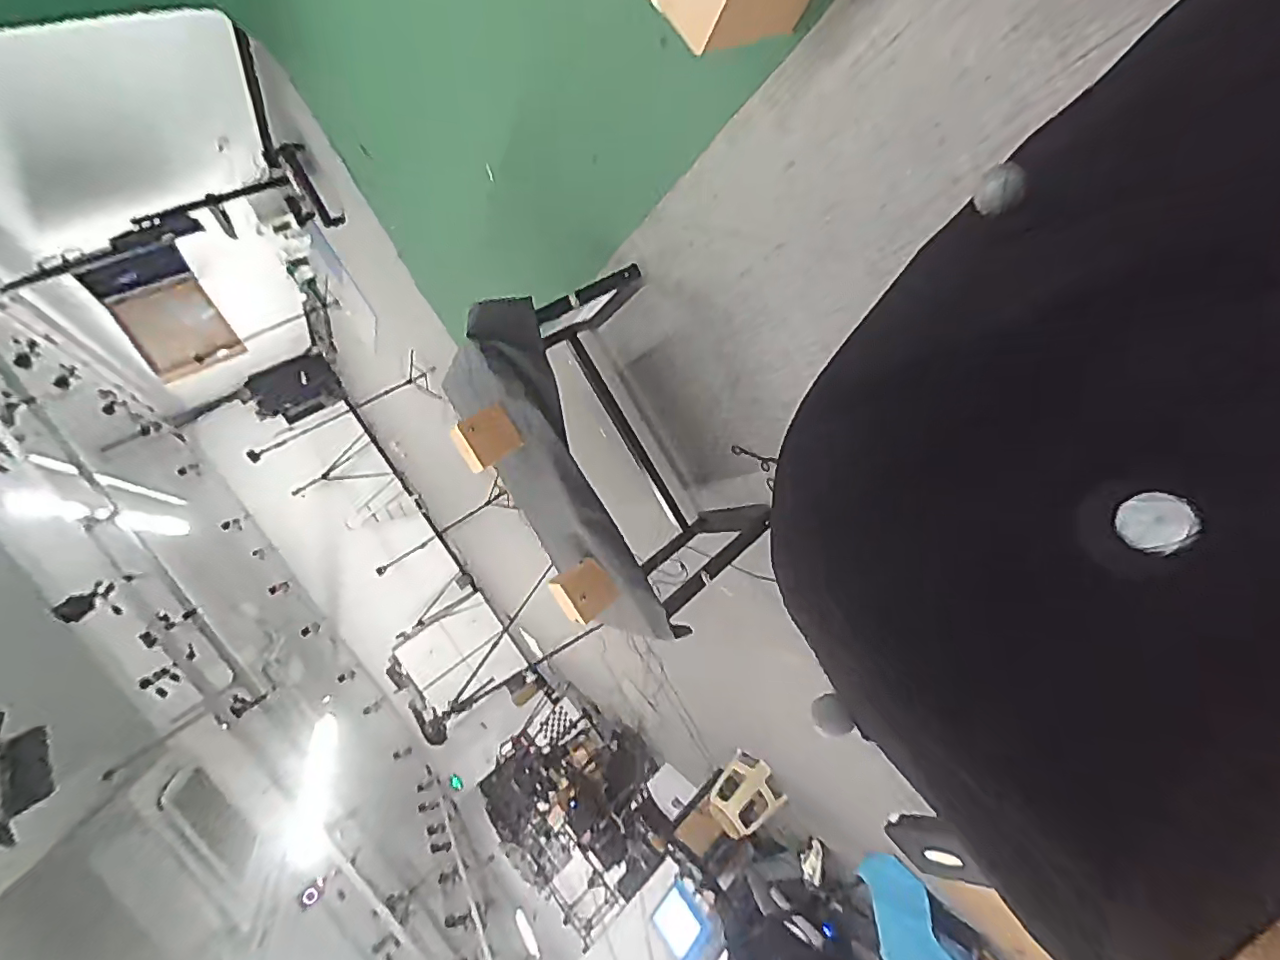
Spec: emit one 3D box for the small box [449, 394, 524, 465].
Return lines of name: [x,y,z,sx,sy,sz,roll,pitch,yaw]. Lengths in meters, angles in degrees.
small box: [-0.528,-0.173,1.869,0.179,0.176,0.168,60,154,-11]

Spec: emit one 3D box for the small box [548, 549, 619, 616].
small box: [-0.205,0.371,1.981,0.179,0.176,0.168,59,153,-8]
